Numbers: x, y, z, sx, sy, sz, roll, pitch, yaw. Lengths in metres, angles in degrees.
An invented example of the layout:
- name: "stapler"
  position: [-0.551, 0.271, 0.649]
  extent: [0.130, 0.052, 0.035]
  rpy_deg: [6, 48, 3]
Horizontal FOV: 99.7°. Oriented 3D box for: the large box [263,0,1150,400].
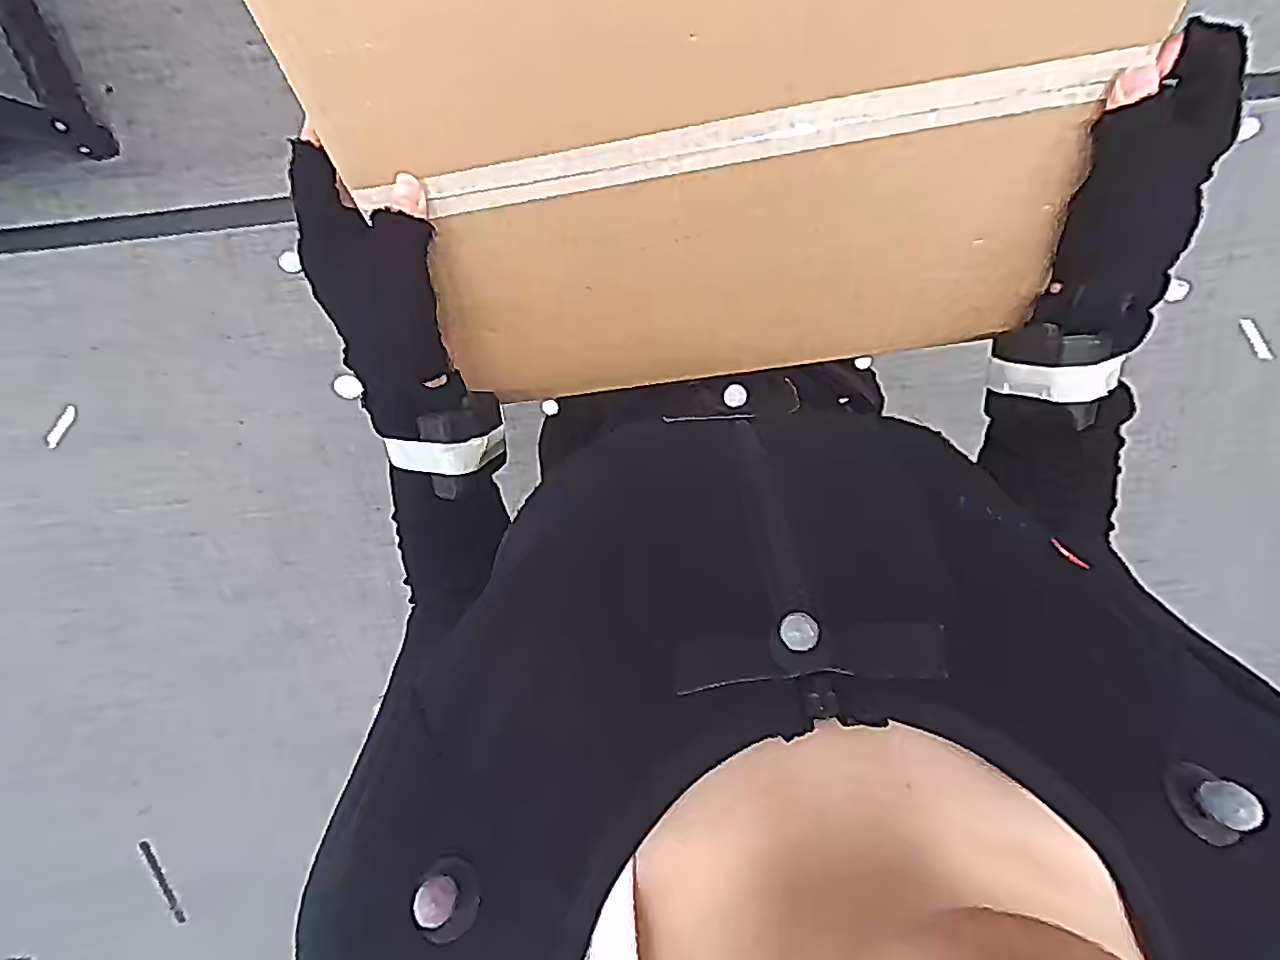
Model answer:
- name: "large box"
  position: [0.035, -0.297, 0.384]
  extent: [0.408, 0.320, 0.320]
  rpy_deg: [-7, 142, 5]
